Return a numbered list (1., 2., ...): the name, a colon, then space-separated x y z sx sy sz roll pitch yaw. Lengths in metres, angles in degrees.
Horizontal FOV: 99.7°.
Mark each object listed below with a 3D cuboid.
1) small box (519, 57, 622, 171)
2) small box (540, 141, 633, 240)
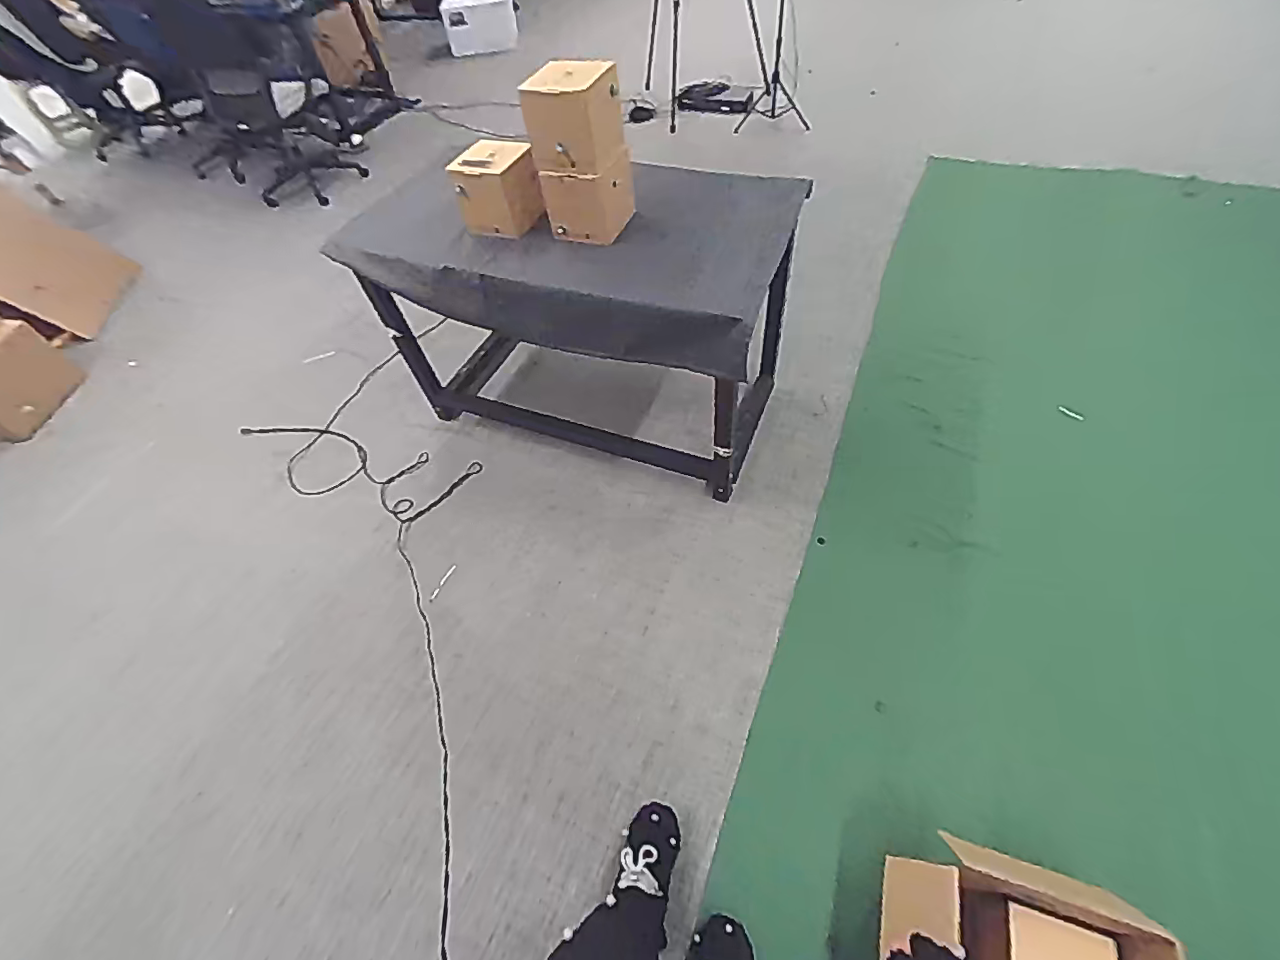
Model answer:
1. small box: -0.148 -0.842 1.245 0.168 0.176 0.179 14 58 17
2. small box: -0.125 -0.731 1.365 0.168 0.176 0.179 15 57 18
